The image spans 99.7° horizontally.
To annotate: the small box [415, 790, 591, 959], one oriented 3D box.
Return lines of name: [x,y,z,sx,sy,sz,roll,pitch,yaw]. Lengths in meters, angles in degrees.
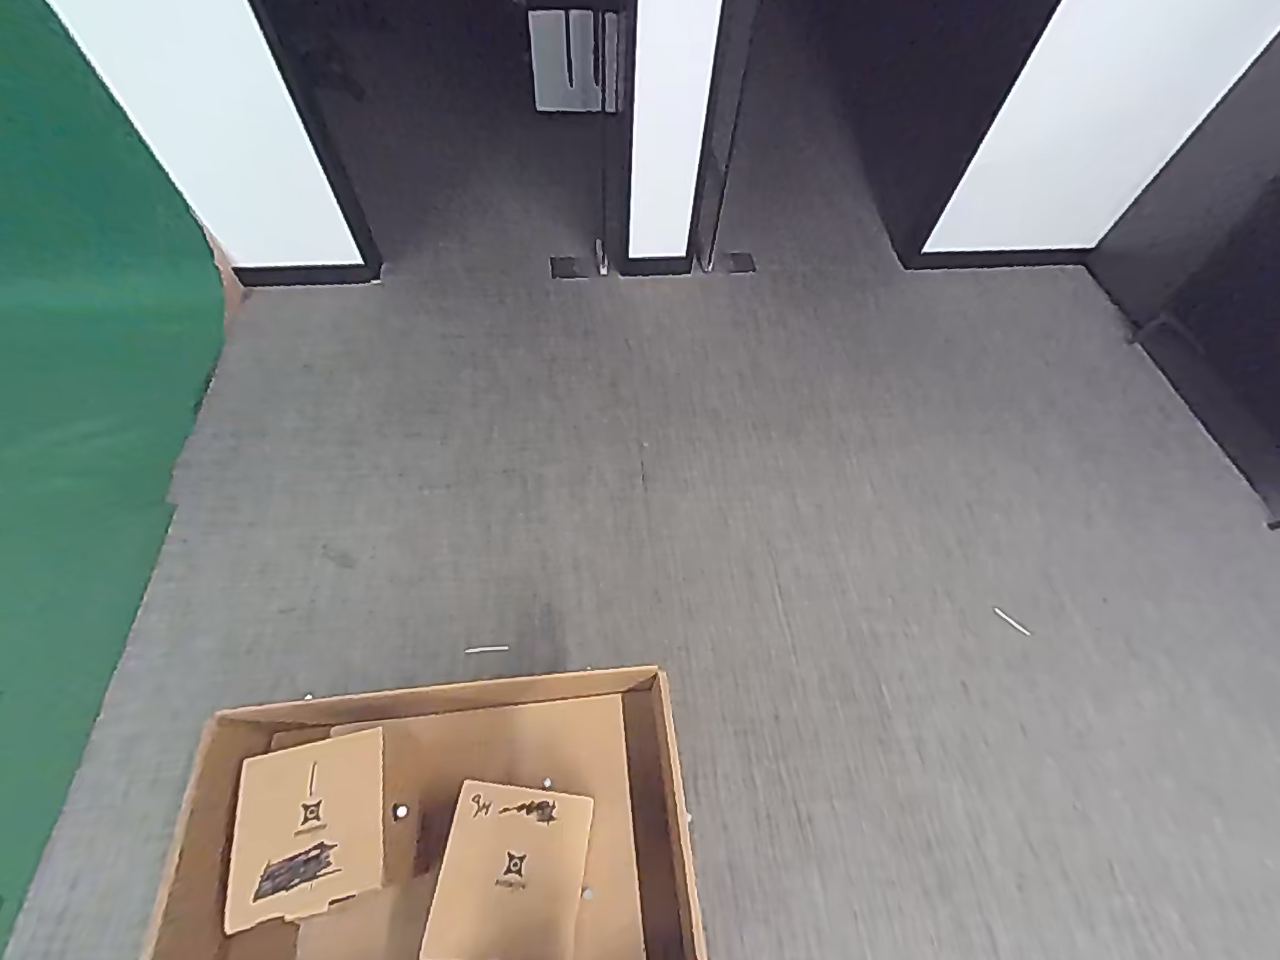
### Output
small box: [-0.155,0.504,0.682,0.168,0.176,0.179,8,58,1]
